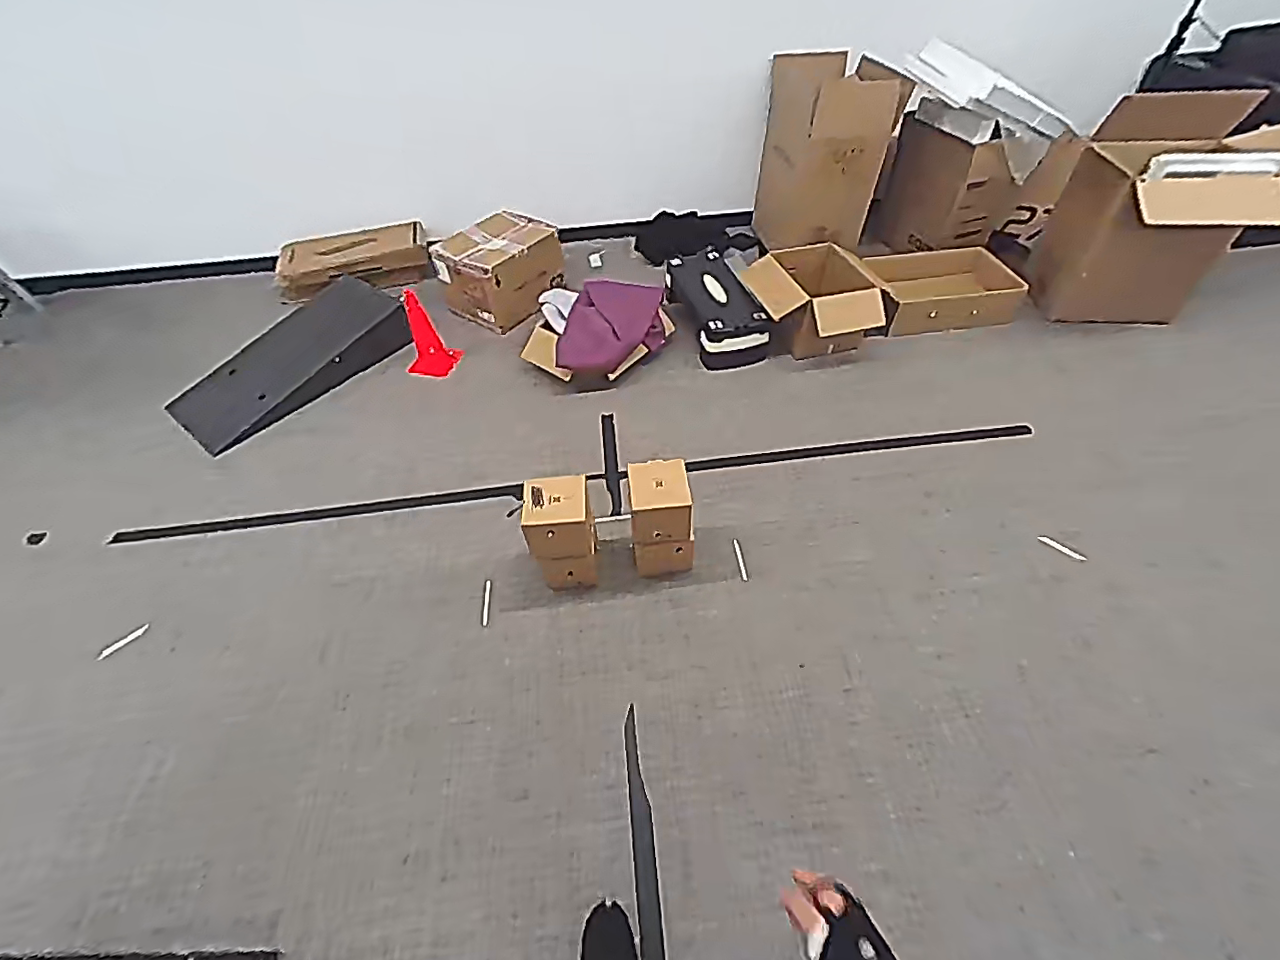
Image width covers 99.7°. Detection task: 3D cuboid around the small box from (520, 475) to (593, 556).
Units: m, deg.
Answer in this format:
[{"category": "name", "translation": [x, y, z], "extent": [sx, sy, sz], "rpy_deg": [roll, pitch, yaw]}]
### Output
[{"category": "small box", "translation": [-0.233, 0.106, 1.552], "extent": [0.179, 0.176, 0.168], "rpy_deg": [-4, 49, 0]}]

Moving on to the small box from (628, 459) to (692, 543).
[{"category": "small box", "translation": [0.055, 0.063, 1.582], "extent": [0.168, 0.176, 0.179], "rpy_deg": [-6, 50, -2]}]

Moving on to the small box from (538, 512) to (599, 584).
[{"category": "small box", "translation": [-0.218, 0.212, 1.681], "extent": [0.168, 0.176, 0.179], "rpy_deg": [-5, 50, -1]}]

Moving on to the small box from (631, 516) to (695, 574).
[{"category": "small box", "translation": [0.066, 0.178, 1.698], "extent": [0.179, 0.176, 0.168], "rpy_deg": [-7, 49, -4]}]
